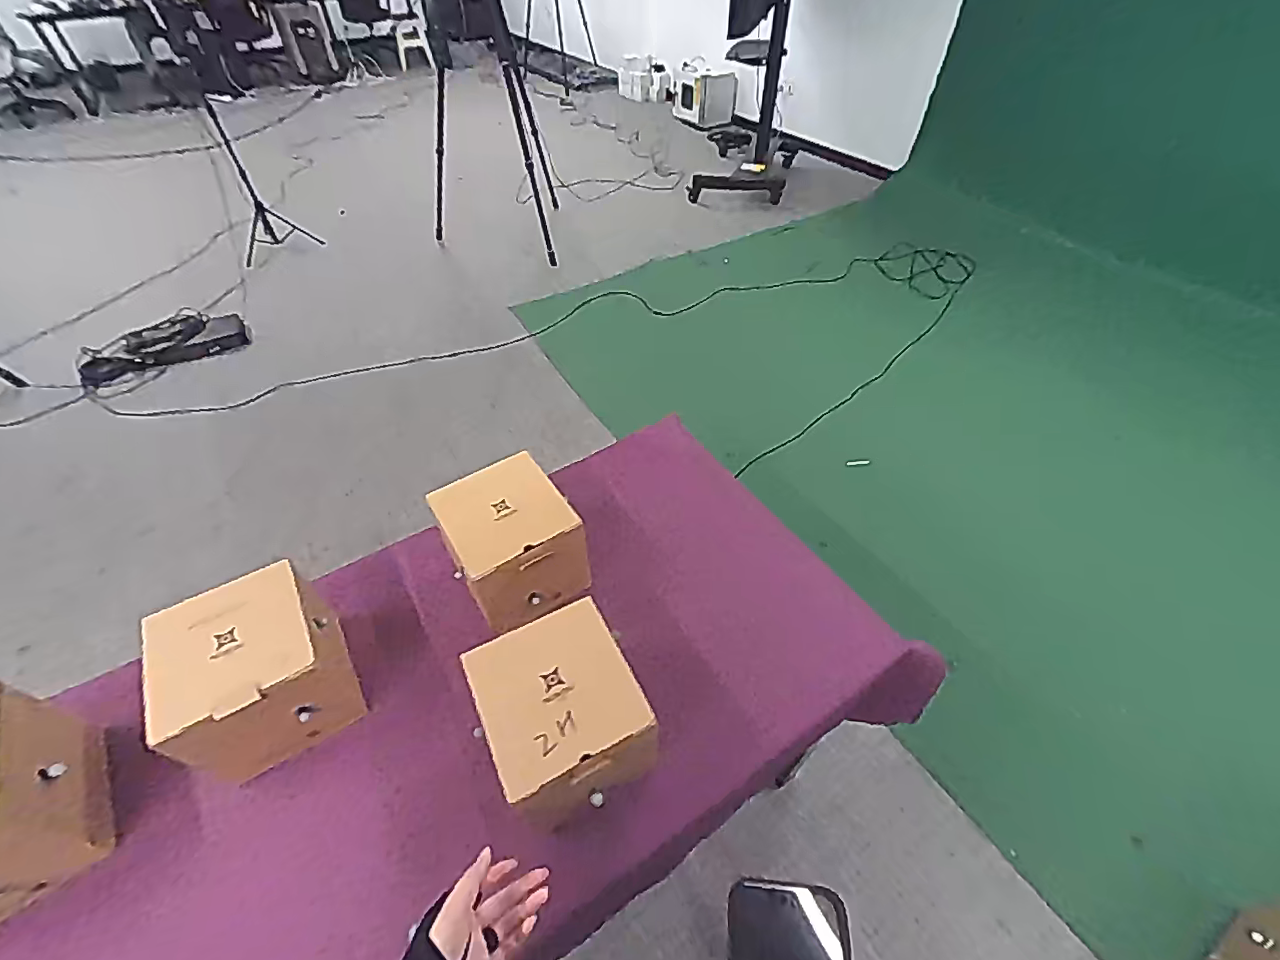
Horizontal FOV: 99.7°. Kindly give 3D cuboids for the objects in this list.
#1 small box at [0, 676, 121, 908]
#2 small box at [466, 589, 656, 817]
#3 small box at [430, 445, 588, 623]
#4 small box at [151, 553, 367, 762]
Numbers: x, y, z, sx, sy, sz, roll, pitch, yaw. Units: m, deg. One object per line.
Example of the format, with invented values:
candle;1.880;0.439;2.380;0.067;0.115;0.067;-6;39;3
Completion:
small box;-0.725;0.358;0.594;0.168;0.176;0.179;-30;56;-24
small box;-0.093;0.272;0.660;0.168;0.176;0.179;-22;52;-17
small box;-0.194;0.083;0.829;0.168;0.176;0.179;-28;55;-22
small box;-0.481;0.235;0.700;0.168;0.176;0.179;-25;53;-21
